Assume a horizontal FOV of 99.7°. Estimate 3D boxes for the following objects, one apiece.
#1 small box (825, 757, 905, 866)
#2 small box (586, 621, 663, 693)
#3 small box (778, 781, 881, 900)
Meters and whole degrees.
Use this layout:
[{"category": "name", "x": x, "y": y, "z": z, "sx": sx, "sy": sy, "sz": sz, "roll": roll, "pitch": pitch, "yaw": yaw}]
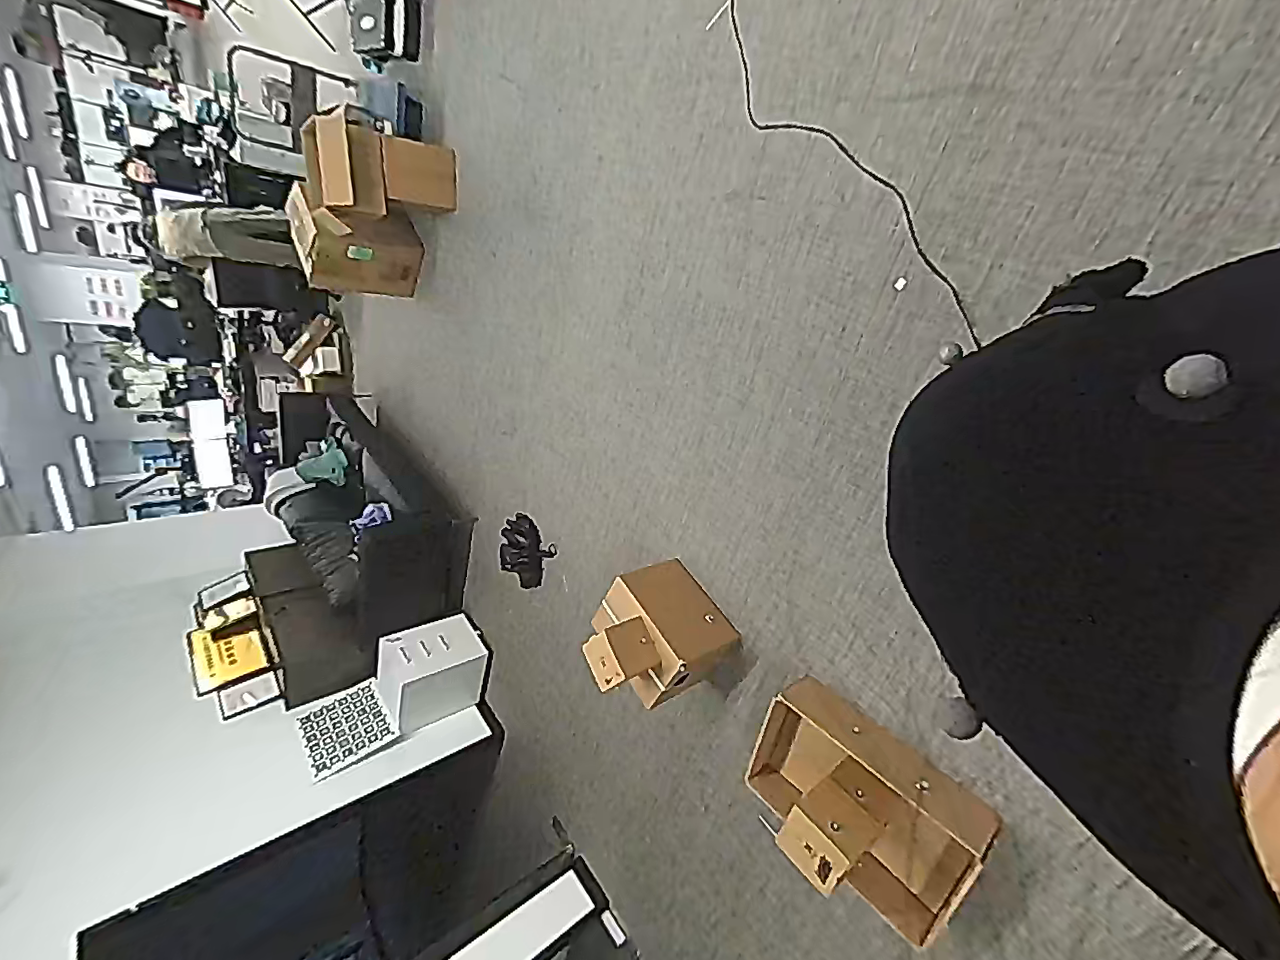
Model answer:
[{"category": "small box", "x": 0.635, "y": 0.954, "z": 1.572, "sx": 0.179, "sy": 0.176, "sz": 0.168, "roll": 34, "pitch": 120, "yaw": 42}, {"category": "small box", "x": -0.053, "y": 0.608, "z": 1.879, "sx": 0.168, "sy": 0.176, "sz": 0.179, "roll": -47, "pitch": 62, "yaw": 42}, {"category": "small box", "x": 0.514, "y": 0.962, "z": 1.460, "sx": 0.179, "sy": 0.176, "sz": 0.168, "roll": 37, "pitch": 123, "yaw": 40}]
